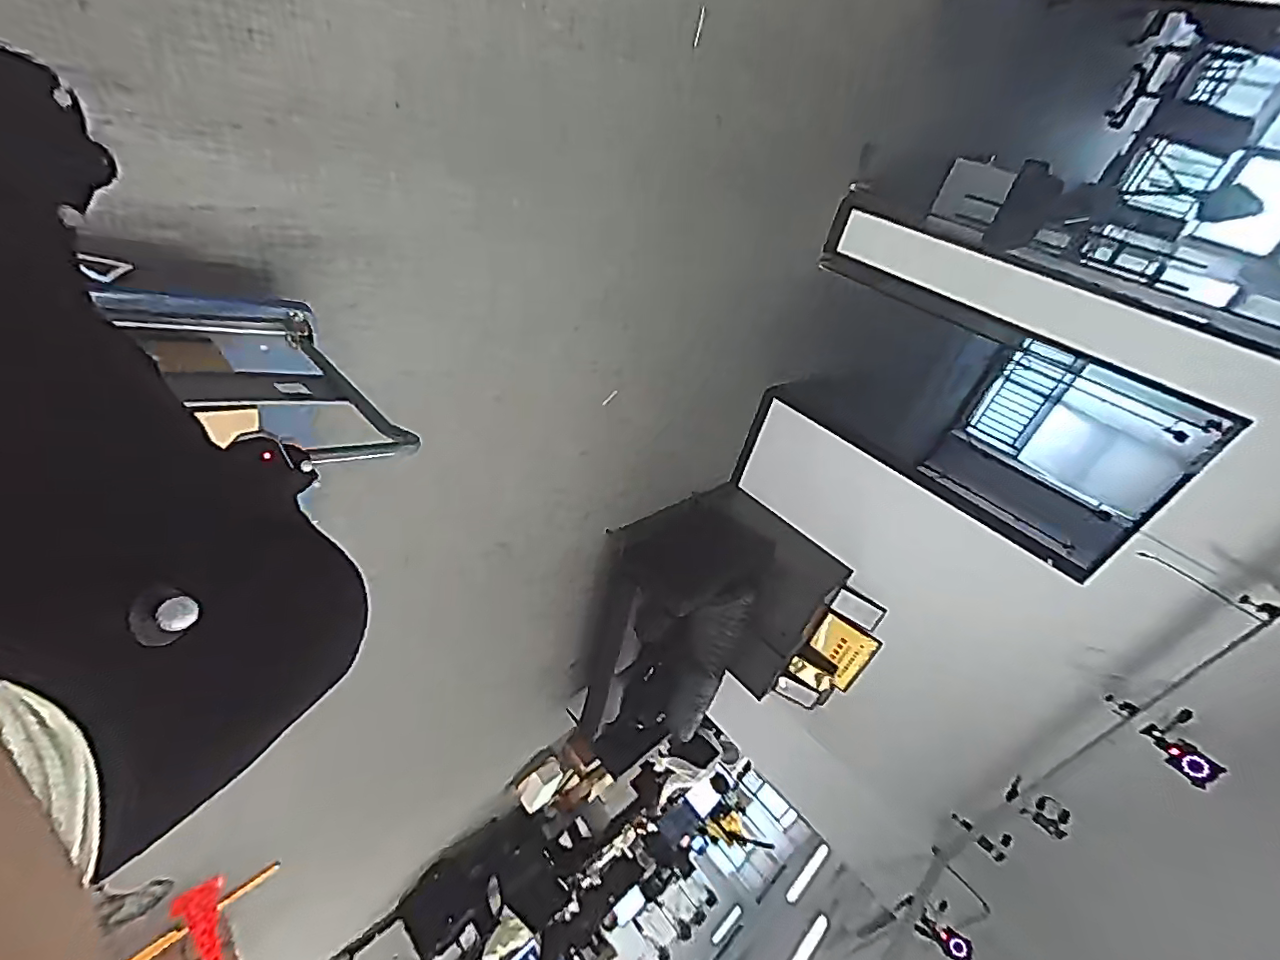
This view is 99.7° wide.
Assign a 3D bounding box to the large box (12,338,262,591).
[{"bbox_3d":[-1.031,-0.051,1.138,0.320,0.320,0.408,-13,134,-47],"label":"large box"}]
